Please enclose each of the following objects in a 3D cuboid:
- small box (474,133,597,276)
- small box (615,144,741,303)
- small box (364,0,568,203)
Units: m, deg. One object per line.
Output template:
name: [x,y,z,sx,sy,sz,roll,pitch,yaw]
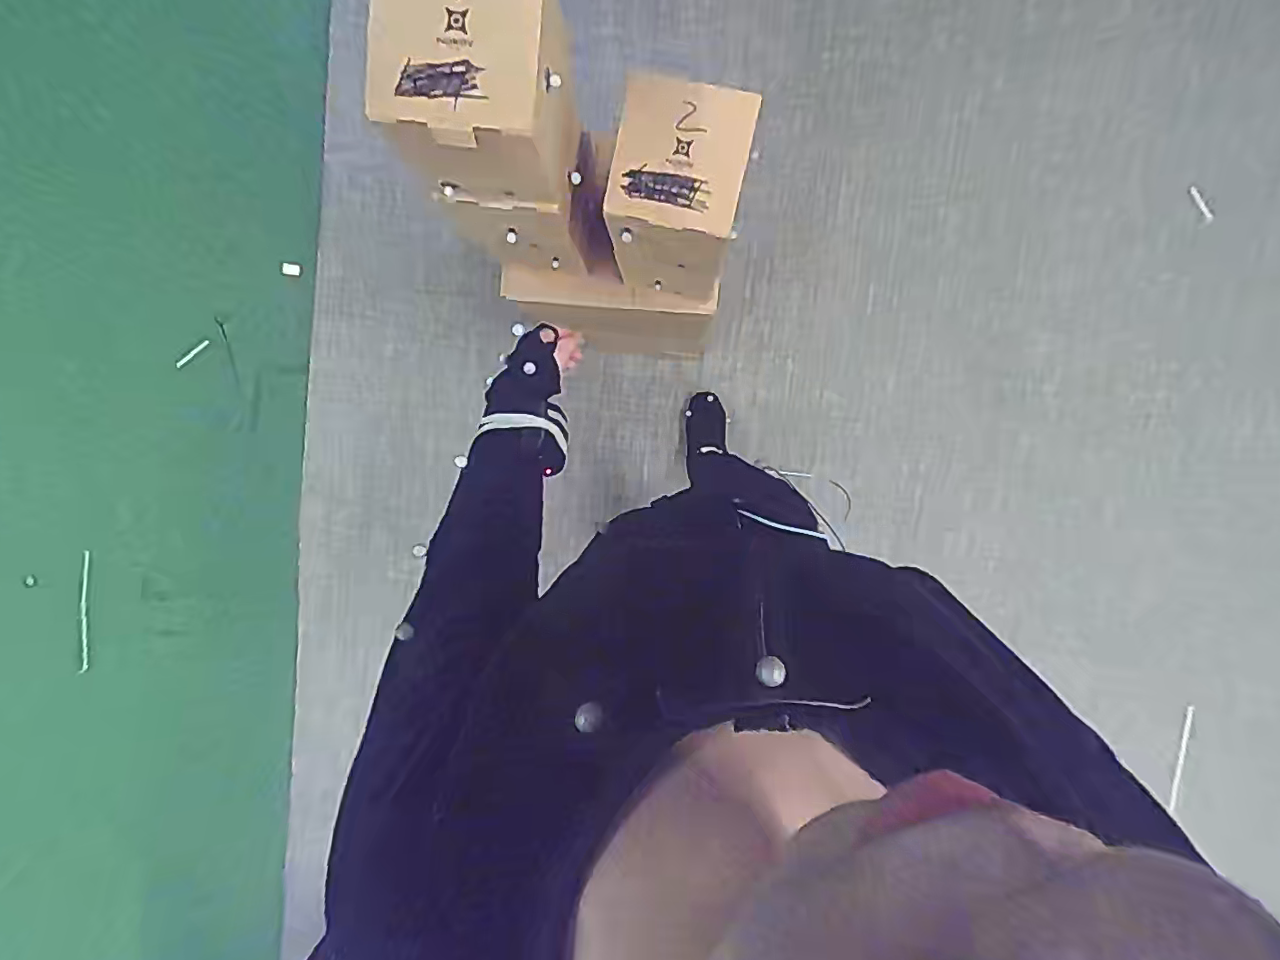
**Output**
small box: [-0.169,-0.463,0.922,0.168,0.176,0.179,7,95,0]
small box: [0.061,-0.420,0.912,0.168,0.176,0.179,13,95,3]
small box: [-0.176,-0.430,0.595,0.168,0.176,0.179,5,94,0]
